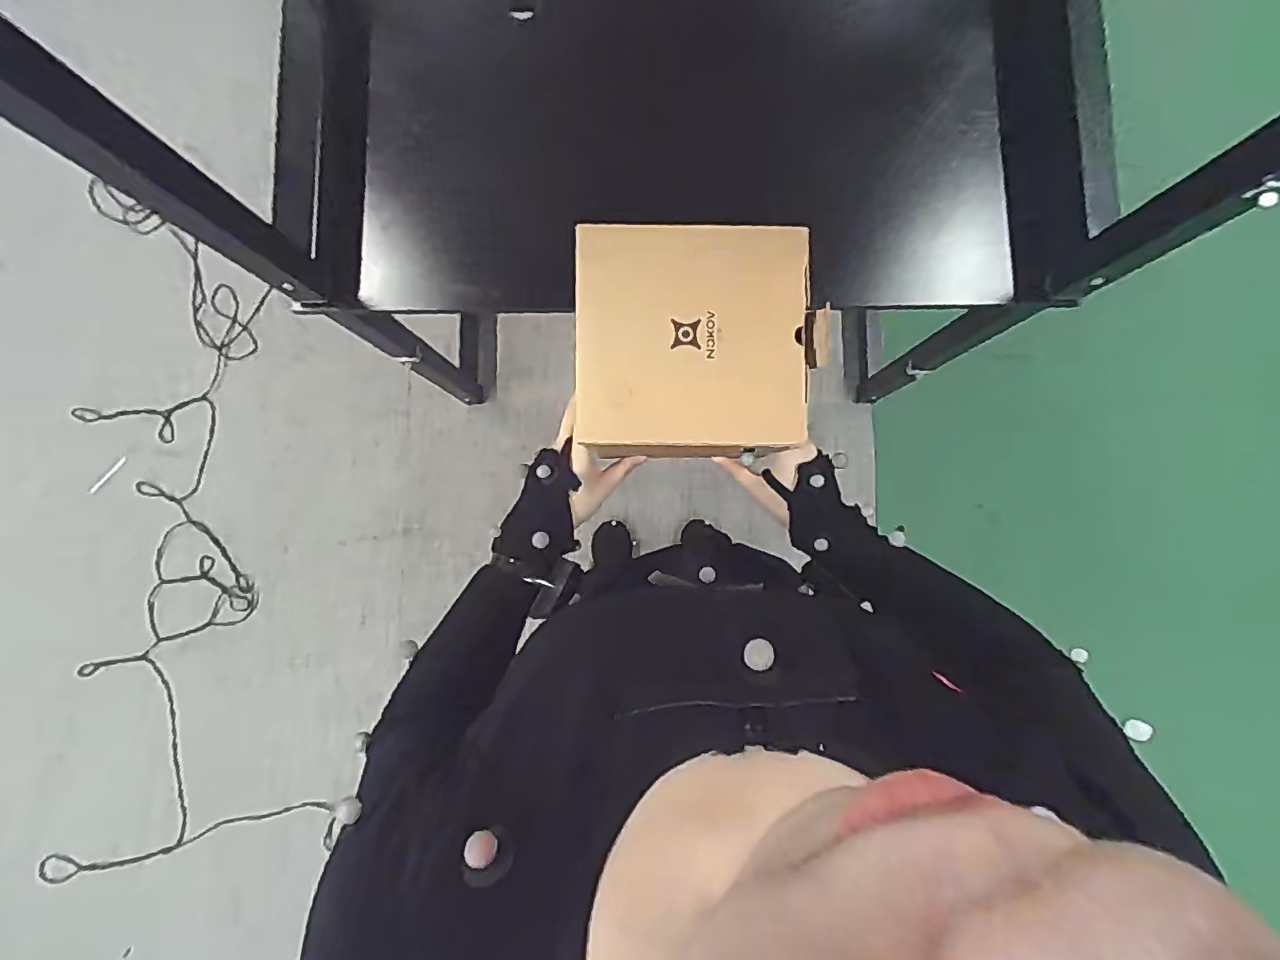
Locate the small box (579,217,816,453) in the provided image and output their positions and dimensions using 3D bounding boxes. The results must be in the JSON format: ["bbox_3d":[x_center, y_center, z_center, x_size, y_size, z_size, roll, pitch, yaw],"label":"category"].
[{"bbox_3d":[0.043,-0.111,0.480,0.179,0.176,0.168,1,90,-1],"label":"small box"}]
